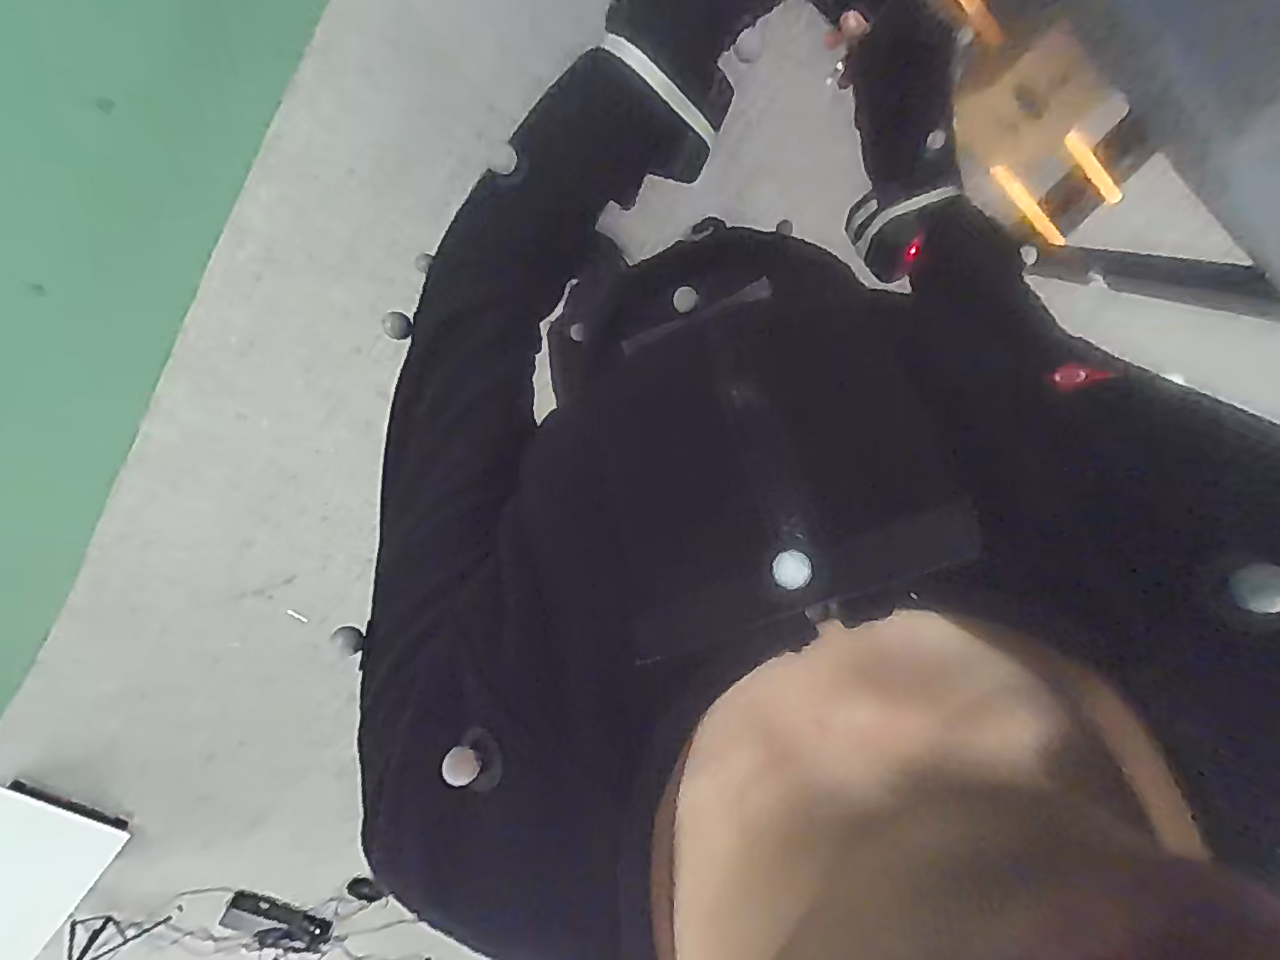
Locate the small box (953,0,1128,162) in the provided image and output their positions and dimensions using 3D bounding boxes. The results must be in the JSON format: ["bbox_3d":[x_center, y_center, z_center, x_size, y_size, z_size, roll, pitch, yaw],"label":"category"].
[{"bbox_3d":[0.719,-0.720,0.999,0.168,0.176,0.179,39,111,-19],"label":"small box"}]
